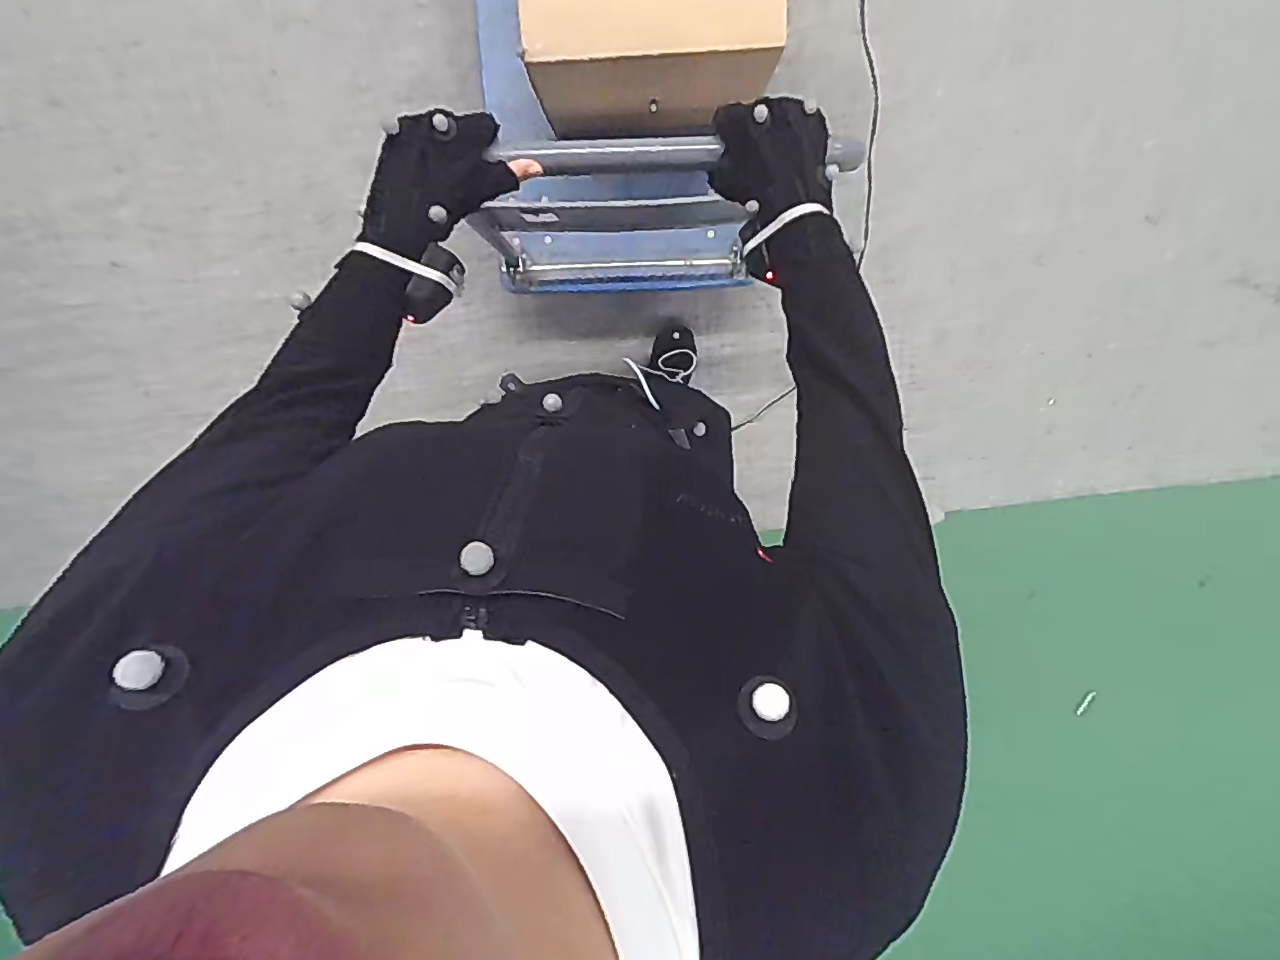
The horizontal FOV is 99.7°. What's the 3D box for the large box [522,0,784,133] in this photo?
[{"bbox_3d":[0.019,-0.839,0.941,0.408,0.320,0.320,-3,105,2],"label":"large box"}]
